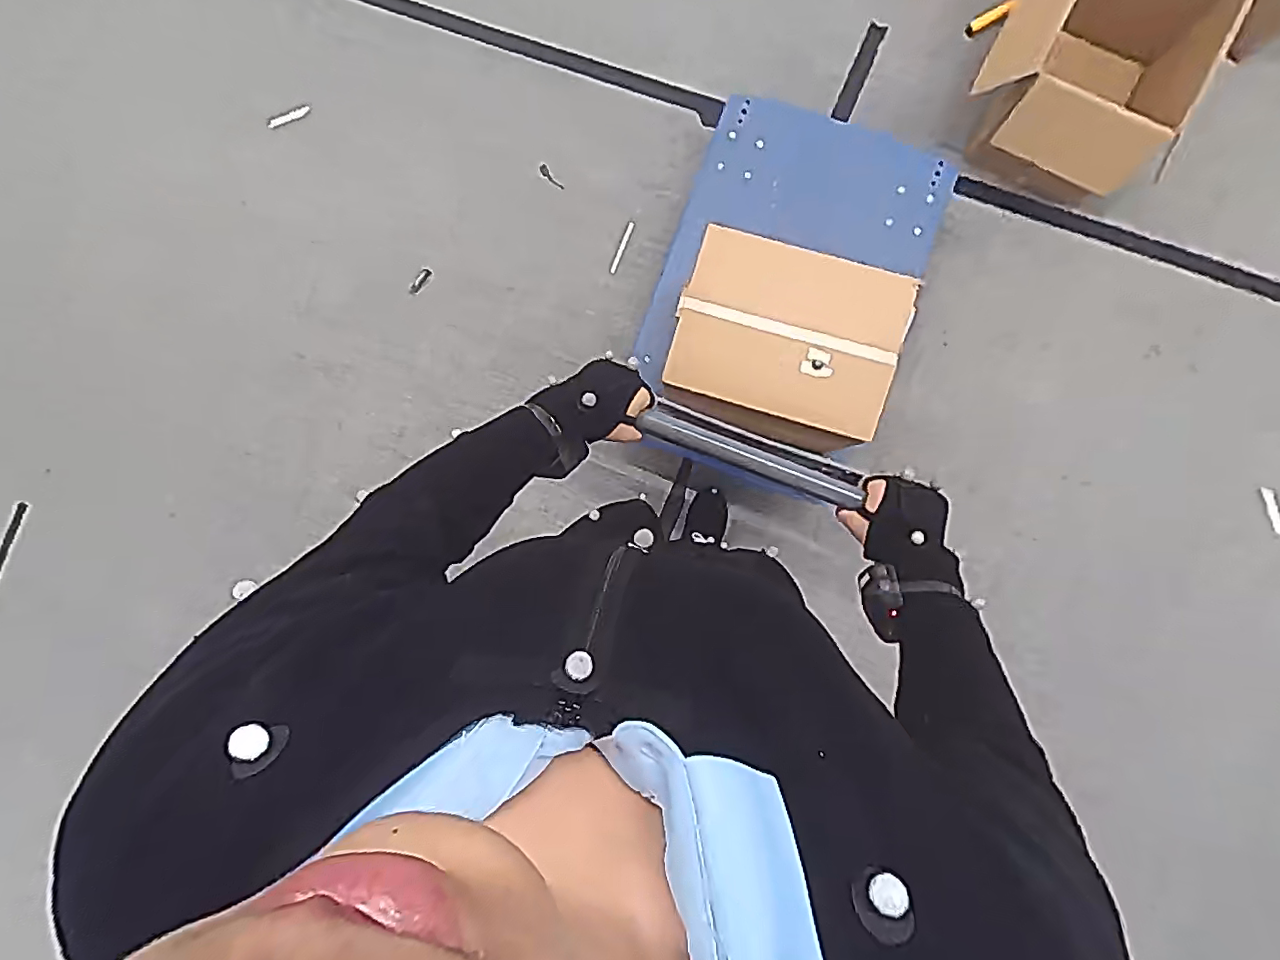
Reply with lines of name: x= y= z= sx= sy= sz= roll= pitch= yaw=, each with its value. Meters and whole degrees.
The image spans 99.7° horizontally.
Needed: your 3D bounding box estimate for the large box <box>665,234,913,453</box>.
large box: x=0.283 y=-0.266 z=1.160 sx=0.408 sy=0.320 sz=0.320 roll=17 pitch=91 yaw=3
